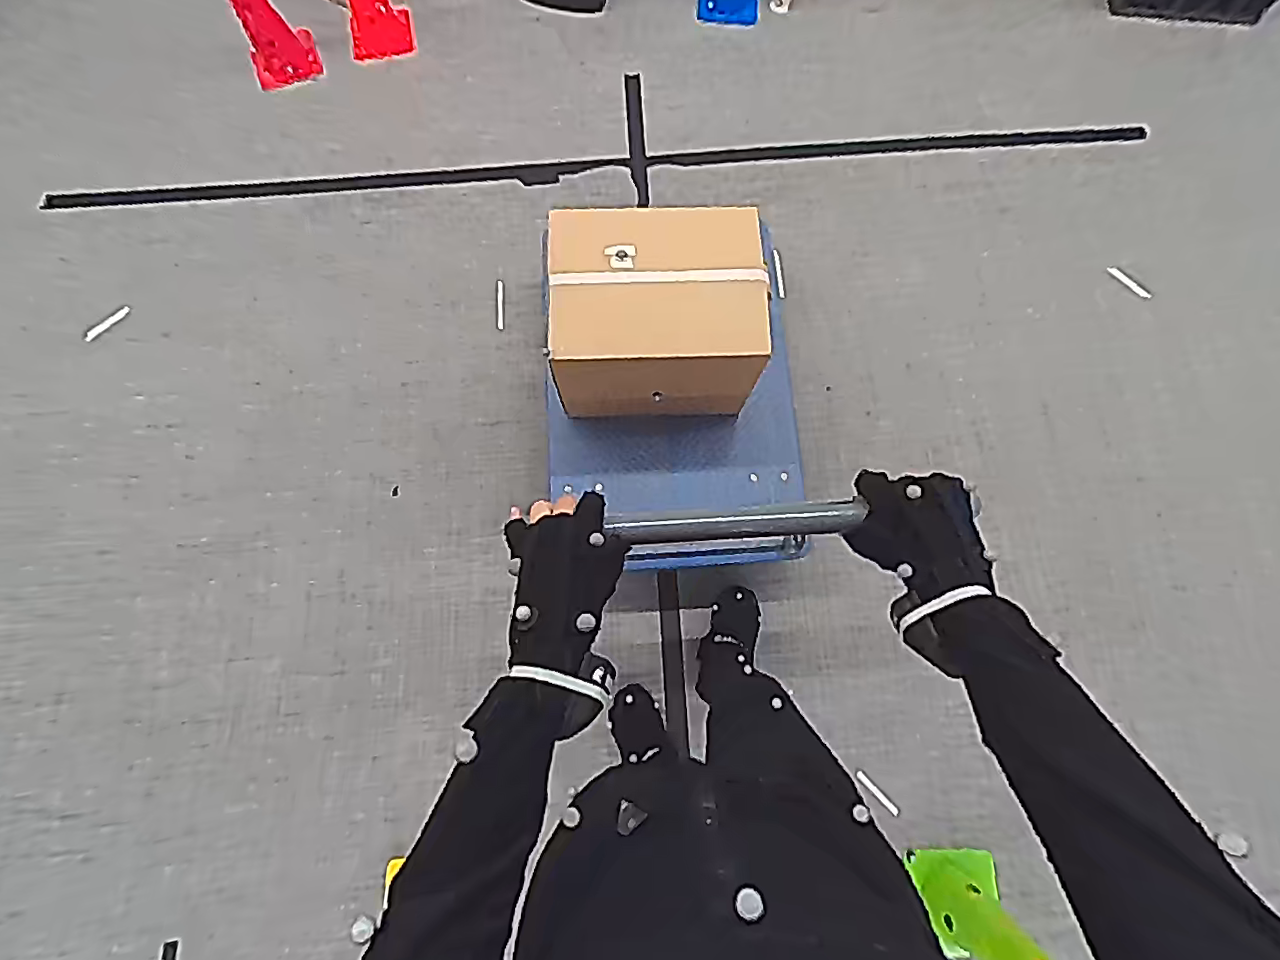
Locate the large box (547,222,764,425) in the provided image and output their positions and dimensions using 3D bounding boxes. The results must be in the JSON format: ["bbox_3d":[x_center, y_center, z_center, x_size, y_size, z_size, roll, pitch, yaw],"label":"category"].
[{"bbox_3d":[0.025,-0.314,1.166,0.408,0.320,0.320,-2,77,-1],"label":"large box"}]

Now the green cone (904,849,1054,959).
[{"bbox_3d":[0.688,0.880,1.015,0.202,0.368,0.200,0,76,-2],"label":"green cone"}]
